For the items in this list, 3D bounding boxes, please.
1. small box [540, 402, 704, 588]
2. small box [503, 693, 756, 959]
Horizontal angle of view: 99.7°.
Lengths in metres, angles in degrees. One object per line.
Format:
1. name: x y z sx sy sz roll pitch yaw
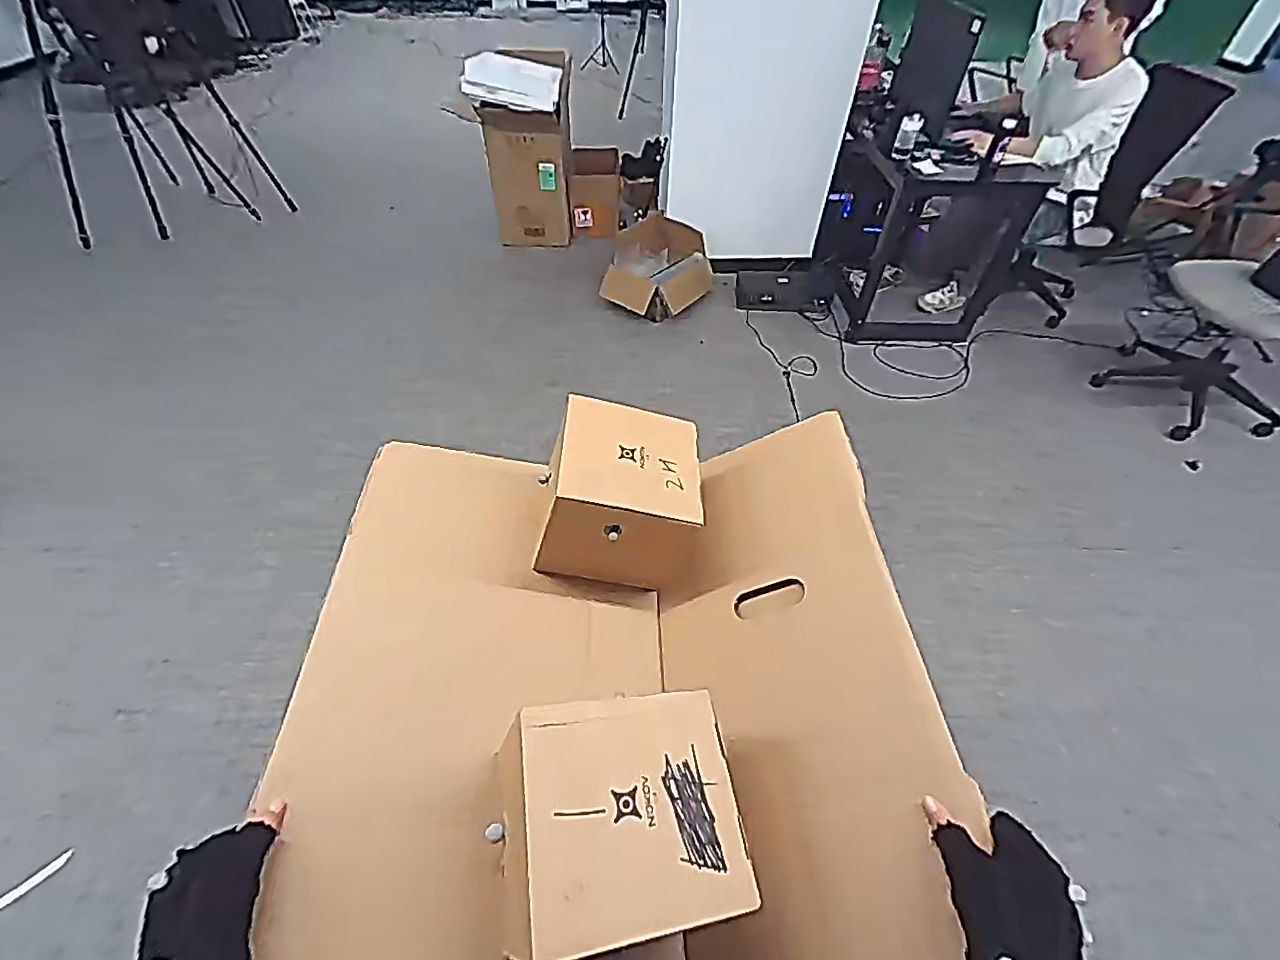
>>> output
1. small box: -0.029 0.028 0.722 0.179 0.176 0.168 13 50 -13
2. small box: -0.026 0.308 0.496 0.179 0.176 0.168 3 52 -20
